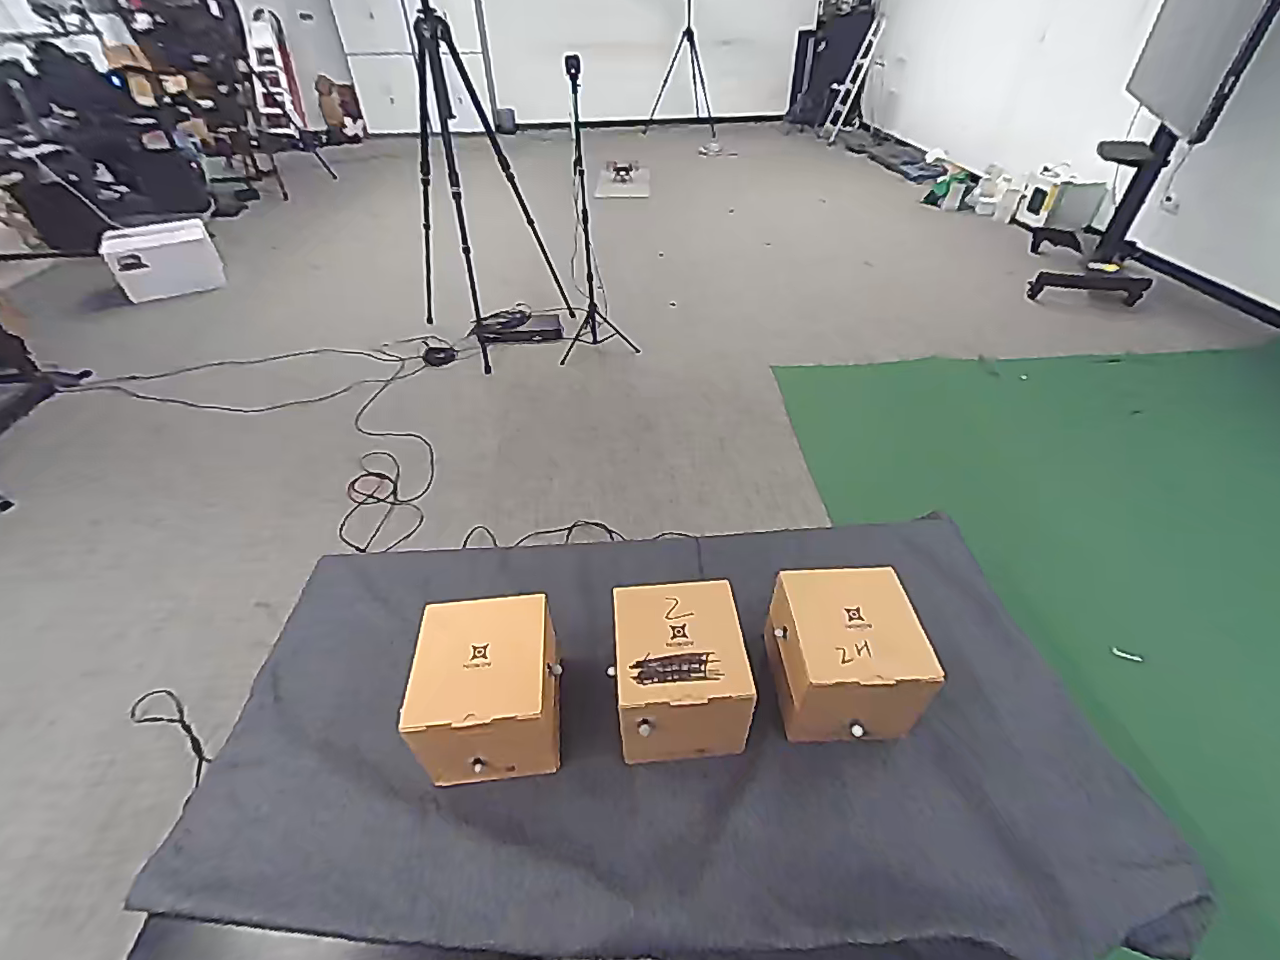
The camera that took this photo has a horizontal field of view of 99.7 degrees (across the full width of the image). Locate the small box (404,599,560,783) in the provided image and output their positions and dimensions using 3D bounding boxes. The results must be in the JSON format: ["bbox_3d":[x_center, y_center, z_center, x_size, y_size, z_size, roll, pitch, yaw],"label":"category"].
[{"bbox_3d":[-0.203,0.289,0.748,0.168,0.176,0.179,-4,42,-4],"label":"small box"}]
